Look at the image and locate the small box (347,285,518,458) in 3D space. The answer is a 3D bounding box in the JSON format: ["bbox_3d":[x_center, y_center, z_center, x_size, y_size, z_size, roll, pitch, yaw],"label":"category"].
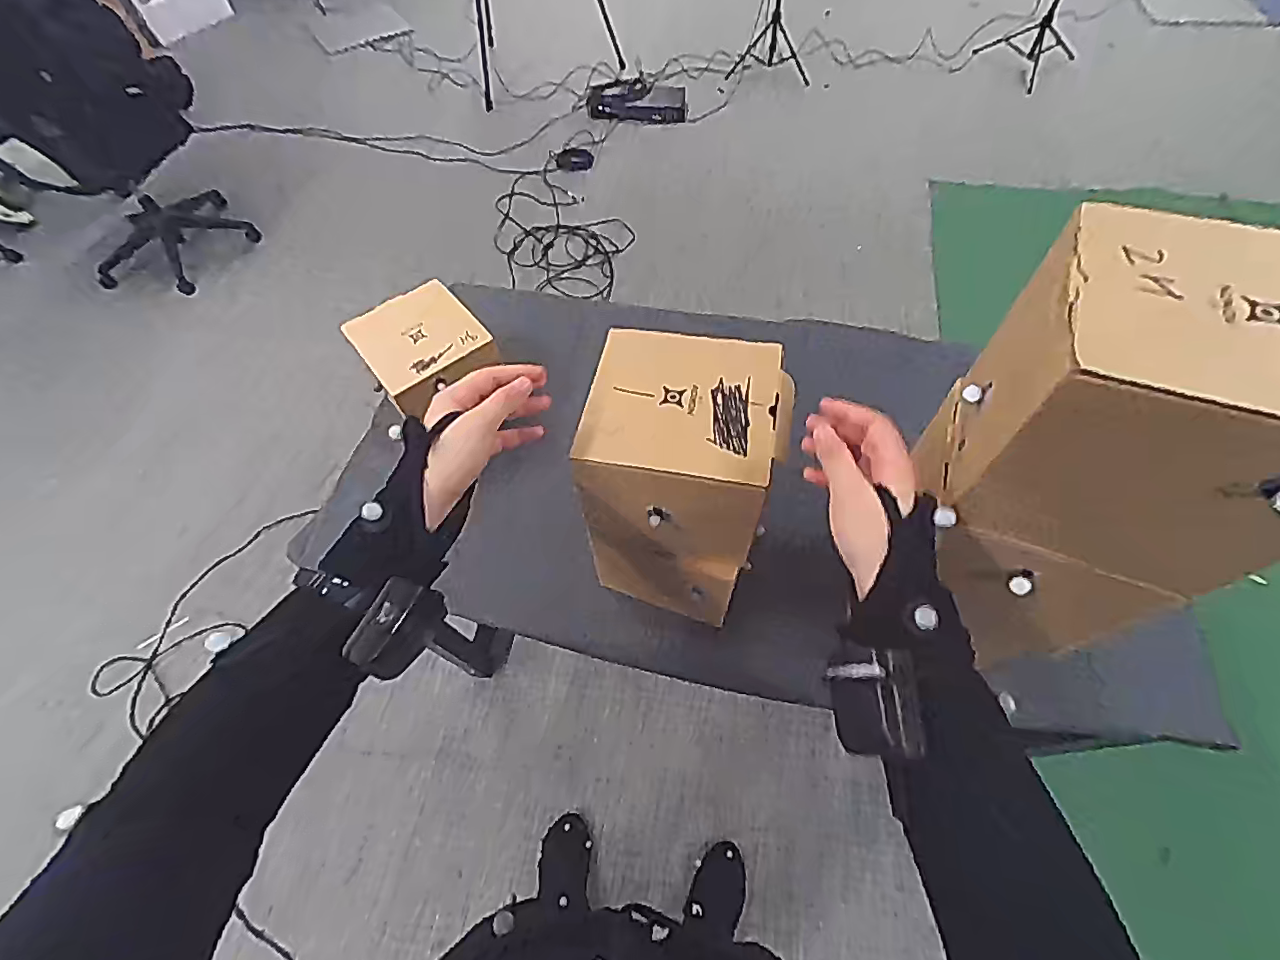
[{"bbox_3d":[-0.322,-0.169,0.865,0.168,0.176,0.179,-36,64,-17],"label":"small box"}]

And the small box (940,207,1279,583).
[{"bbox_3d":[0.341,-0.049,0.371,0.179,0.176,0.168,19,61,16],"label":"small box"}]

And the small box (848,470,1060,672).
[{"bbox_3d":[0.358,0.113,0.655,0.168,0.176,0.179,8,60,10],"label":"small box"}]
